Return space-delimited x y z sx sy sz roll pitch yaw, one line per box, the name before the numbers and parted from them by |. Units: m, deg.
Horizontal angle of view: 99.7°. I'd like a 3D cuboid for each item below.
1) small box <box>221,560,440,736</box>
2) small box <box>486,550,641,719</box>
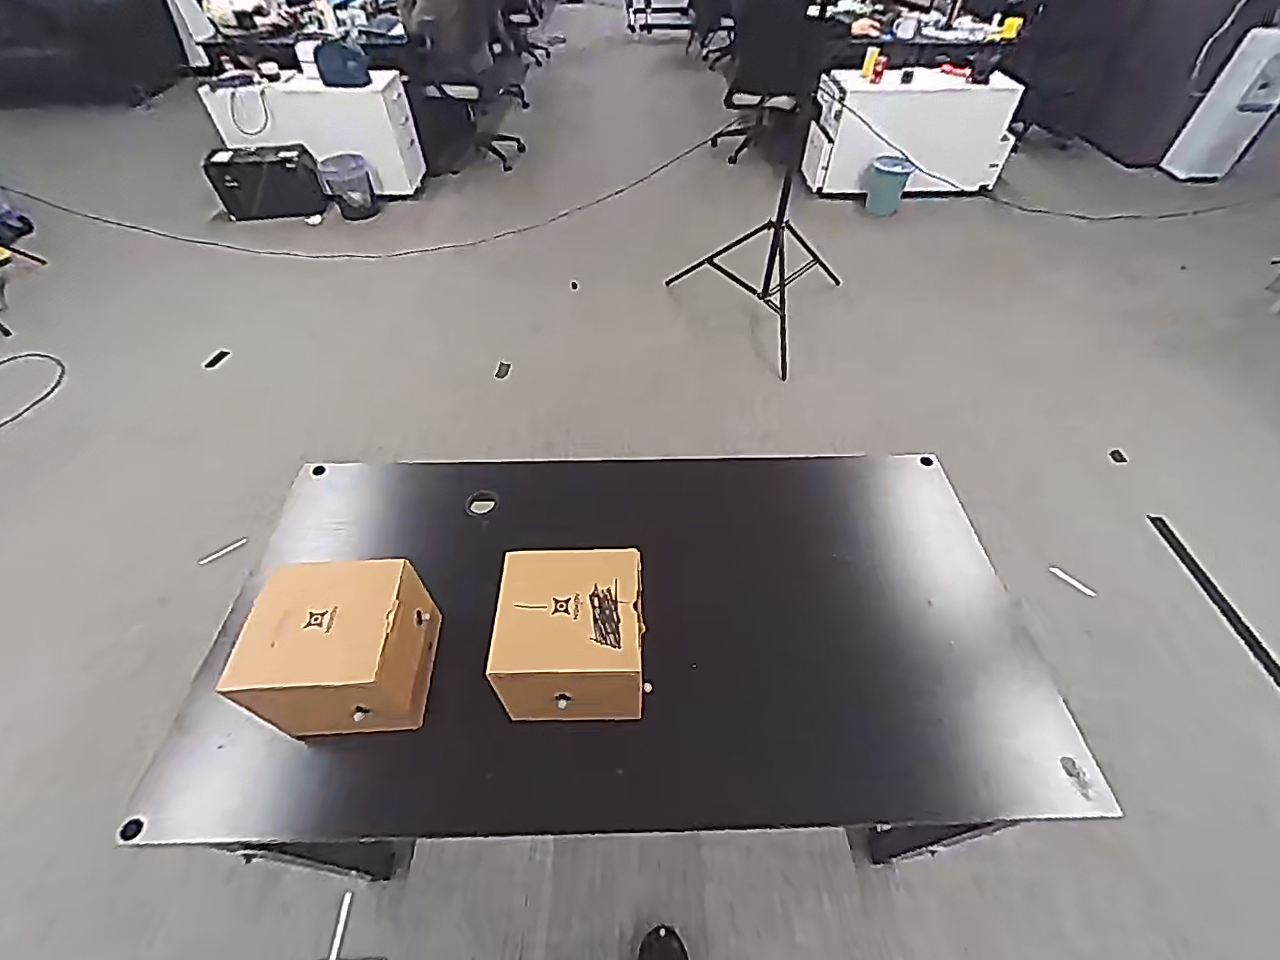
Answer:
small box | -0.381 0.223 0.711 0.179 0.176 0.168 -4 49 -2
small box | -0.087 0.208 0.721 0.179 0.176 0.168 -1 49 1
